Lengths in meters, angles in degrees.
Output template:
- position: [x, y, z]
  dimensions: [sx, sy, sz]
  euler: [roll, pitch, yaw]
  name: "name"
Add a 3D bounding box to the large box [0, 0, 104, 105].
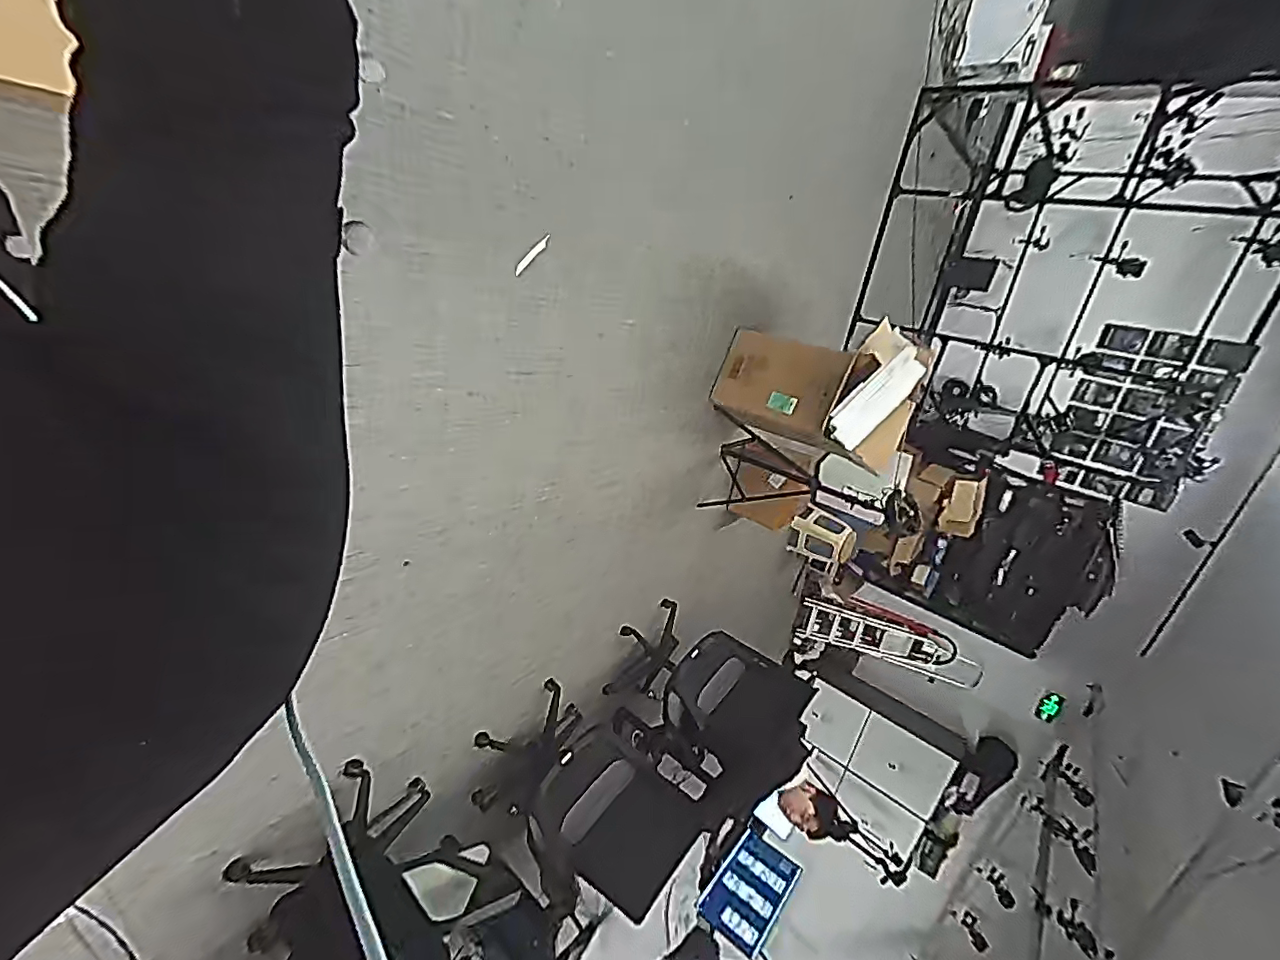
- position: [-0.925, -0.650, 0.589]
  dimensions: [0.408, 0.320, 0.320]
  euler: [-18, 126, -50]
  name: "large box"
